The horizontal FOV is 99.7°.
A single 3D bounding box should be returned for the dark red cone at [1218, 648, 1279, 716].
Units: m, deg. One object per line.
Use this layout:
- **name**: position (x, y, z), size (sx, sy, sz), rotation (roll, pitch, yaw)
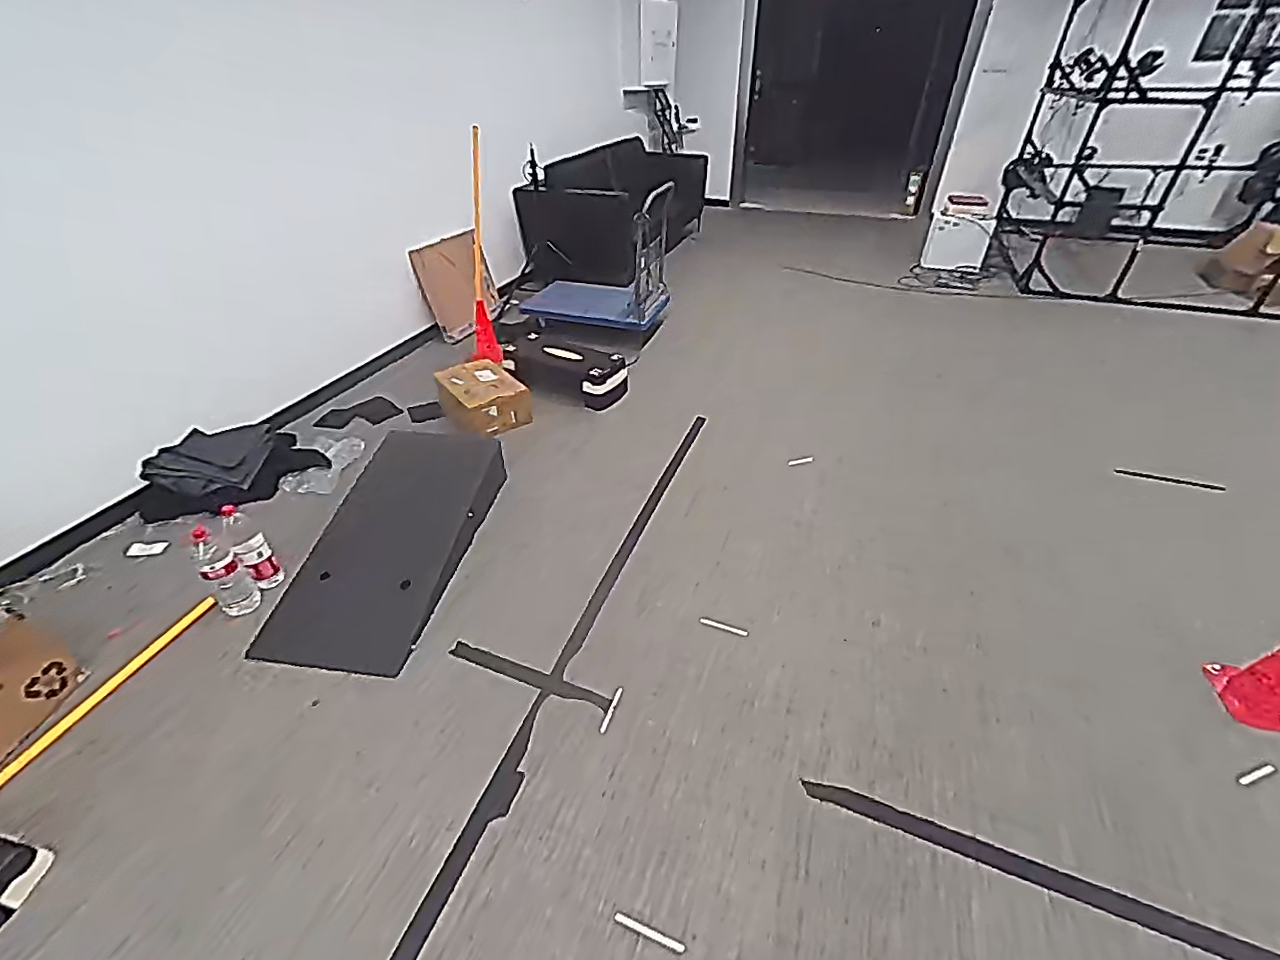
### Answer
- **dark red cone**: position (1.725, 0.433, 1.364), size (0.202, 0.394, 0.201), rotation (8, 40, 11)
